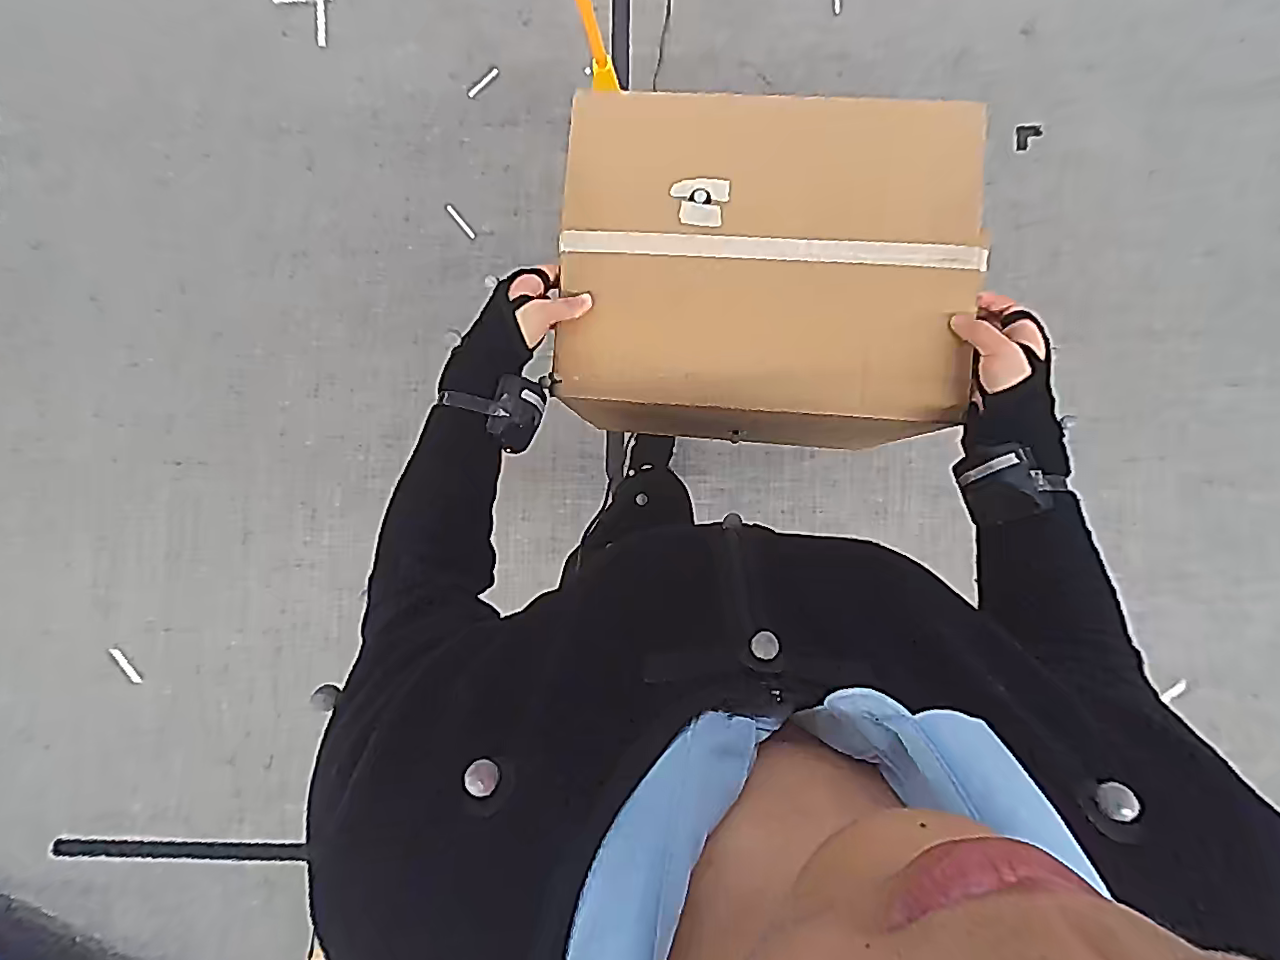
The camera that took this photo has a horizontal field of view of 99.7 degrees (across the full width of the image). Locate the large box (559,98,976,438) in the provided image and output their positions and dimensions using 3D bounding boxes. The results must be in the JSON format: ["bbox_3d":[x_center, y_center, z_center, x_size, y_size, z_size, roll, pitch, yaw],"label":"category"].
[{"bbox_3d":[0.138,-0.226,0.689,0.408,0.320,0.320,4,88,6],"label":"large box"}]
